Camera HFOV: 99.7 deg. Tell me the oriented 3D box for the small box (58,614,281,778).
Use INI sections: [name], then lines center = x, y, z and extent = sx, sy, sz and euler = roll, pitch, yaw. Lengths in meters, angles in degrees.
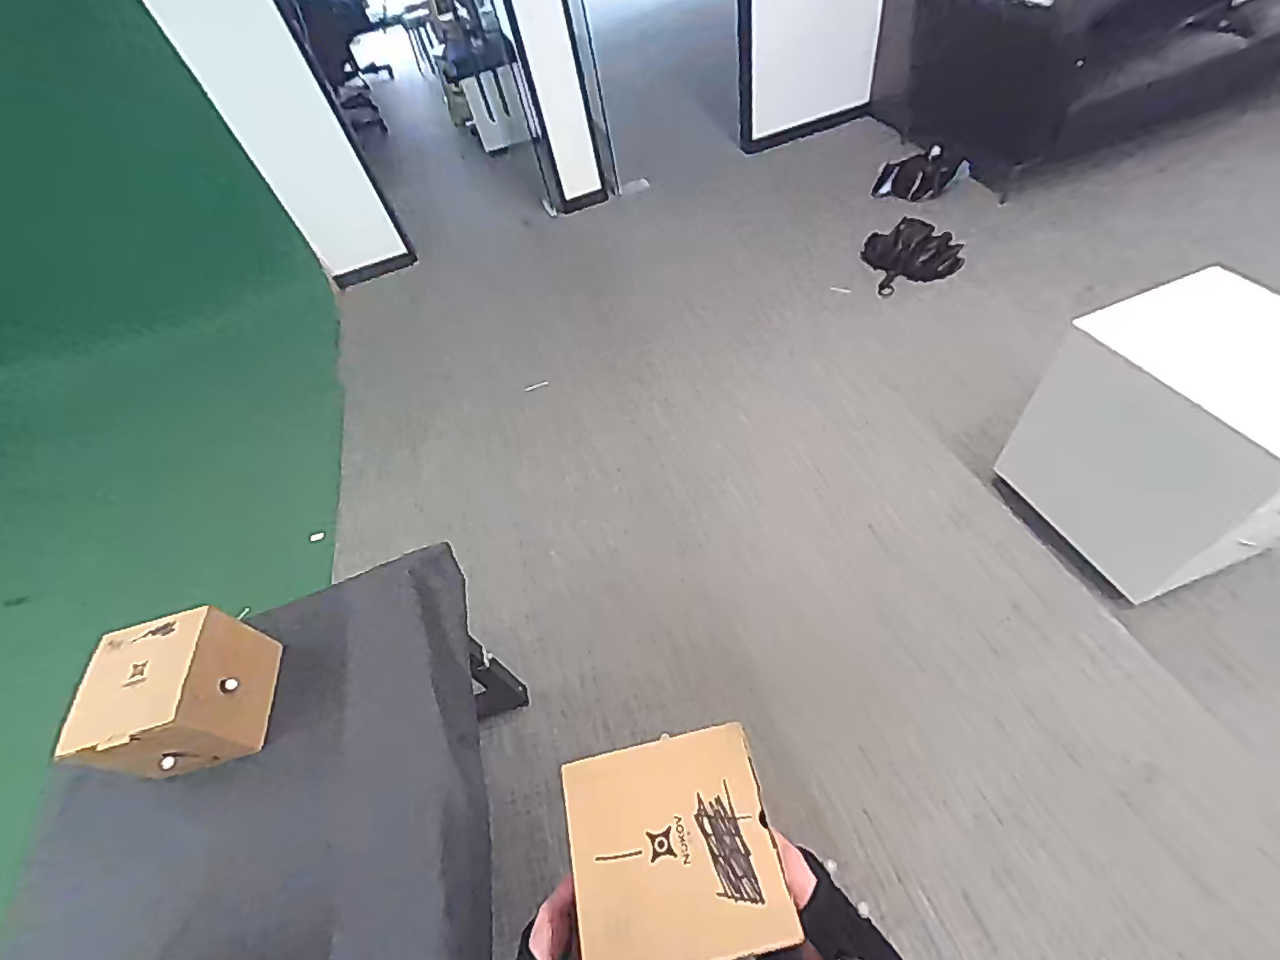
[small box]
center = -0.684, 0.332, 0.816
extent = 0.168, 0.176, 0.179
euler = -16, 52, -1
